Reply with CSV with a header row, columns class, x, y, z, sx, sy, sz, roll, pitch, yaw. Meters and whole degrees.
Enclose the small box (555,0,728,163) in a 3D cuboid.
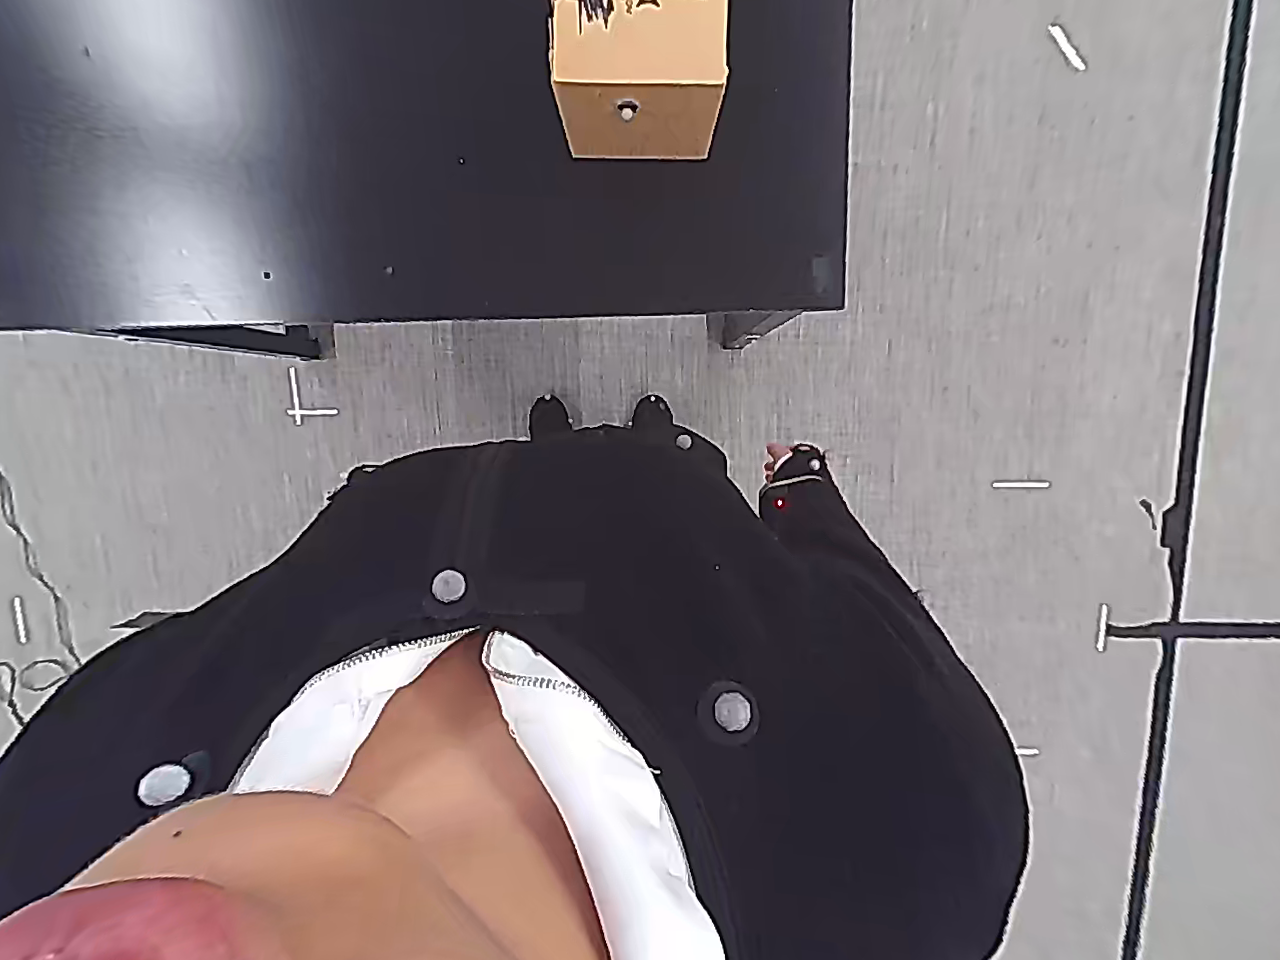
class,x,y,z,sx,sy,sz,roll,pitch,yaw
small box,0.003,-0.487,0.621,0.179,0.176,0.168,1,98,0
